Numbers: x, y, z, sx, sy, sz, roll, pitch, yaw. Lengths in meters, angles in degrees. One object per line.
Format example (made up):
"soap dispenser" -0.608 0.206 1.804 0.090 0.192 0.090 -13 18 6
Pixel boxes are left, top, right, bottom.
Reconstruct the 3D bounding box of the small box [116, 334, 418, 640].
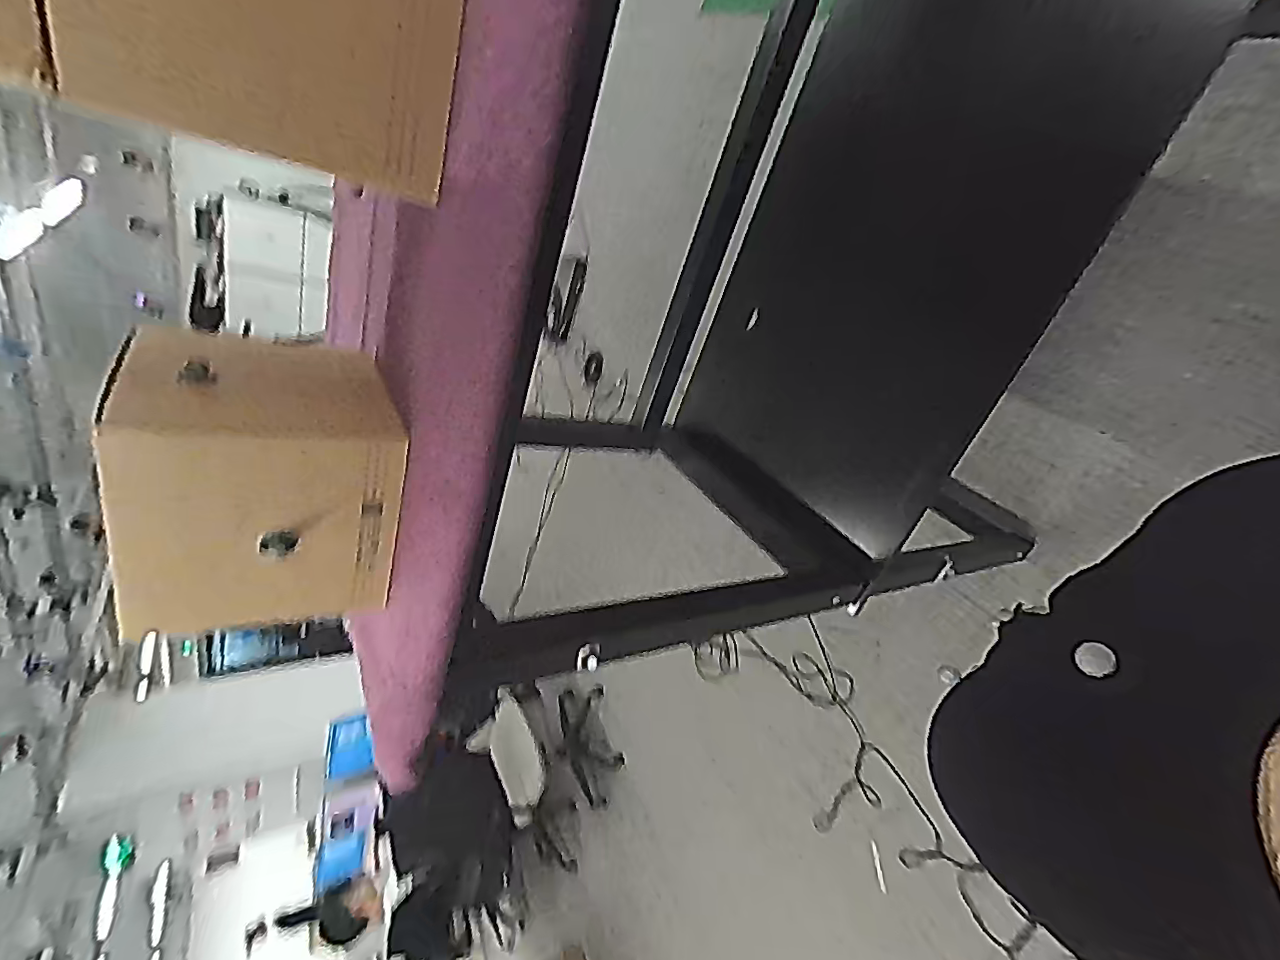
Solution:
"small box" -0.292 -0.003 0.441 0.179 0.176 0.168 45 125 43

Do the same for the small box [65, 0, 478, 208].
"small box" -0.198 -0.281 0.309 0.168 0.176 0.179 46 127 44
